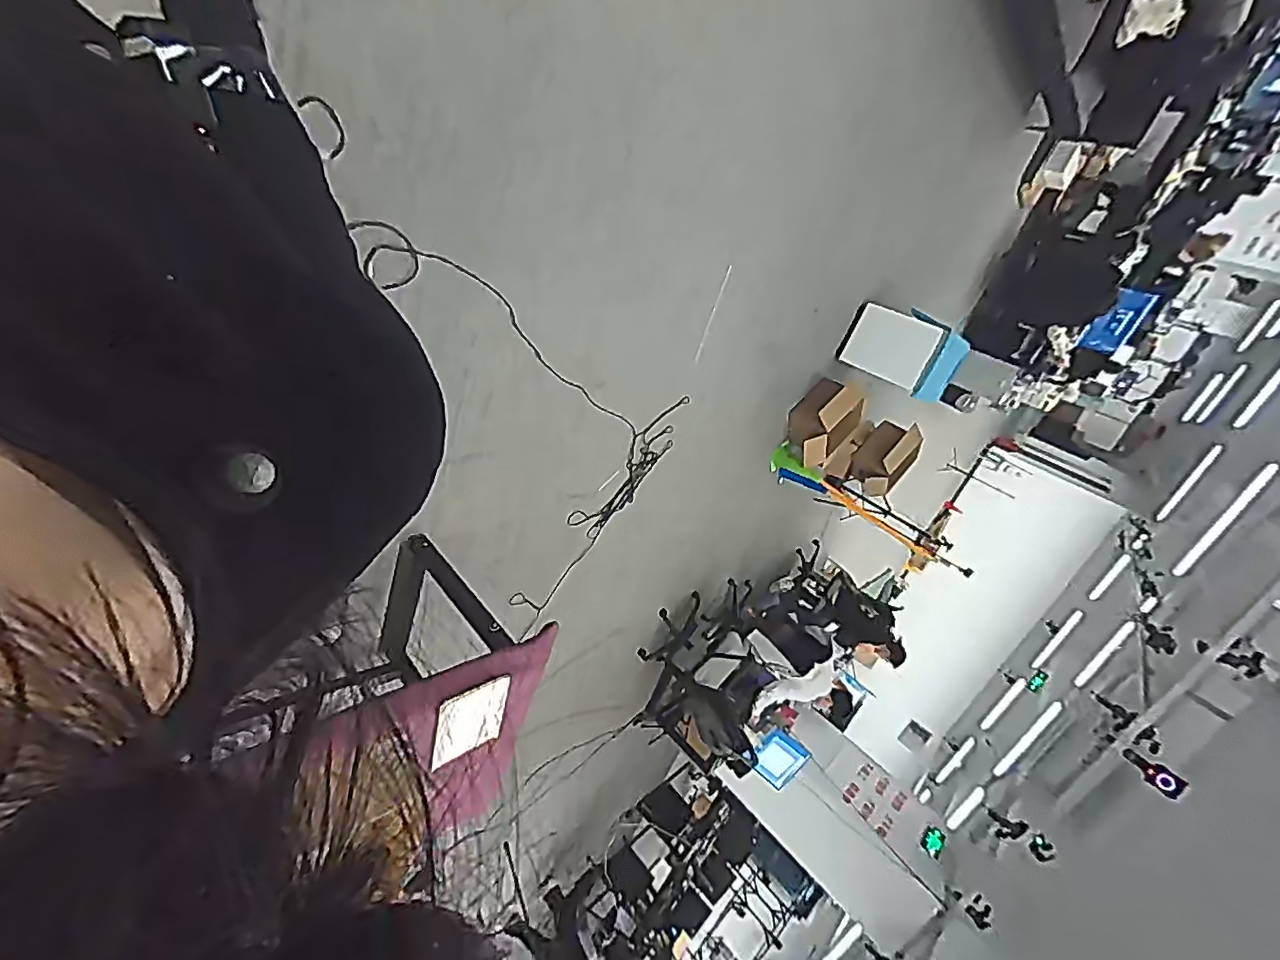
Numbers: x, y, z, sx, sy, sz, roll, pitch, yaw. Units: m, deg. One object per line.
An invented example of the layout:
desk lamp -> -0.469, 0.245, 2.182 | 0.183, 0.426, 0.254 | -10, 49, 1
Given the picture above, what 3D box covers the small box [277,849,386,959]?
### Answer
small box -> -0.713, 0.999, 1.243 | 0.168, 0.176, 0.179 | -4, 122, -49
